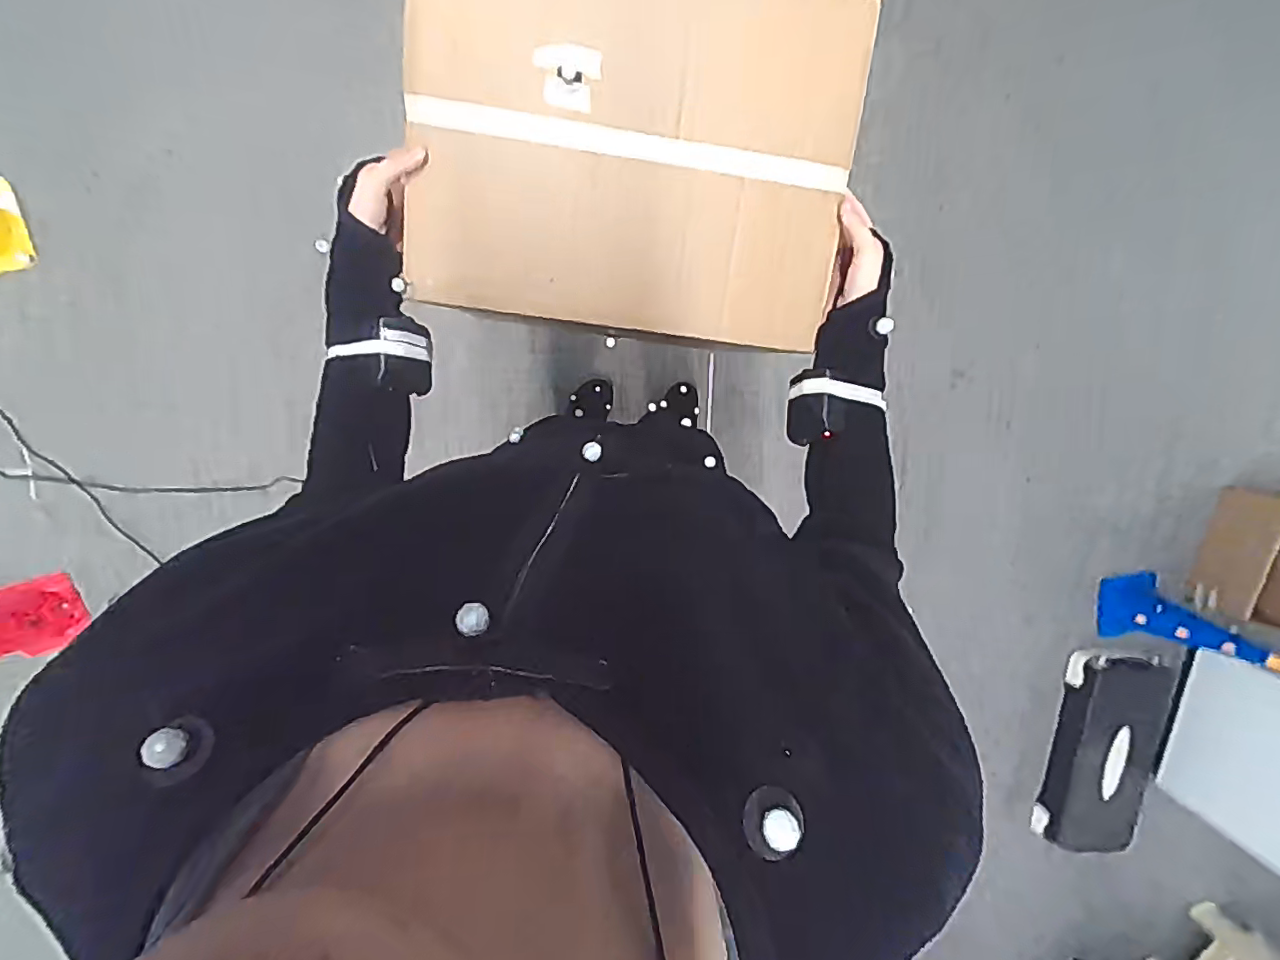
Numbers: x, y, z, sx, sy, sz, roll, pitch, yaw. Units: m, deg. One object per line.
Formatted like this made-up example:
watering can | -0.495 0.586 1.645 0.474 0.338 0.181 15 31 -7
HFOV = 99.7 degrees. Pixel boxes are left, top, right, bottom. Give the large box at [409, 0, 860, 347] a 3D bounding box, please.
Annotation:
large box | -0.020 -0.336 0.649 0.408 0.320 0.320 5 102 -6
